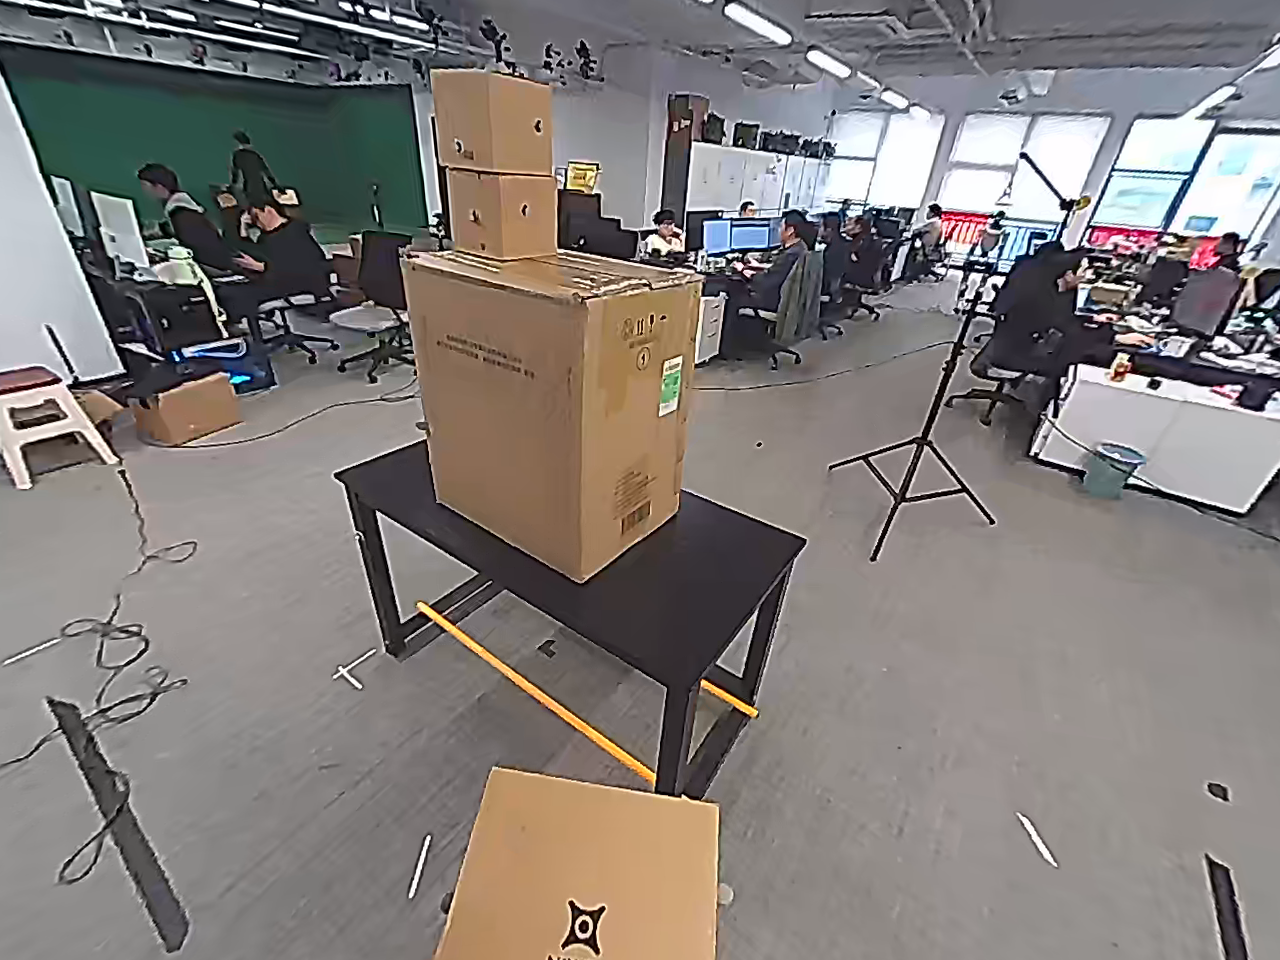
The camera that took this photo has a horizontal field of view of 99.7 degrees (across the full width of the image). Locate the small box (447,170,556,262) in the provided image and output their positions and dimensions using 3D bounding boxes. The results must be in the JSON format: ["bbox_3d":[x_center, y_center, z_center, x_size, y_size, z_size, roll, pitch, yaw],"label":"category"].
[{"bbox_3d":[-0.303,-0.595,1.217,0.168,0.176,0.179,23,35,27],"label":"small box"}]

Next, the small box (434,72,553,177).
[{"bbox_3d":[-0.301,-0.732,1.126,0.168,0.176,0.179,21,34,27],"label":"small box"}]
